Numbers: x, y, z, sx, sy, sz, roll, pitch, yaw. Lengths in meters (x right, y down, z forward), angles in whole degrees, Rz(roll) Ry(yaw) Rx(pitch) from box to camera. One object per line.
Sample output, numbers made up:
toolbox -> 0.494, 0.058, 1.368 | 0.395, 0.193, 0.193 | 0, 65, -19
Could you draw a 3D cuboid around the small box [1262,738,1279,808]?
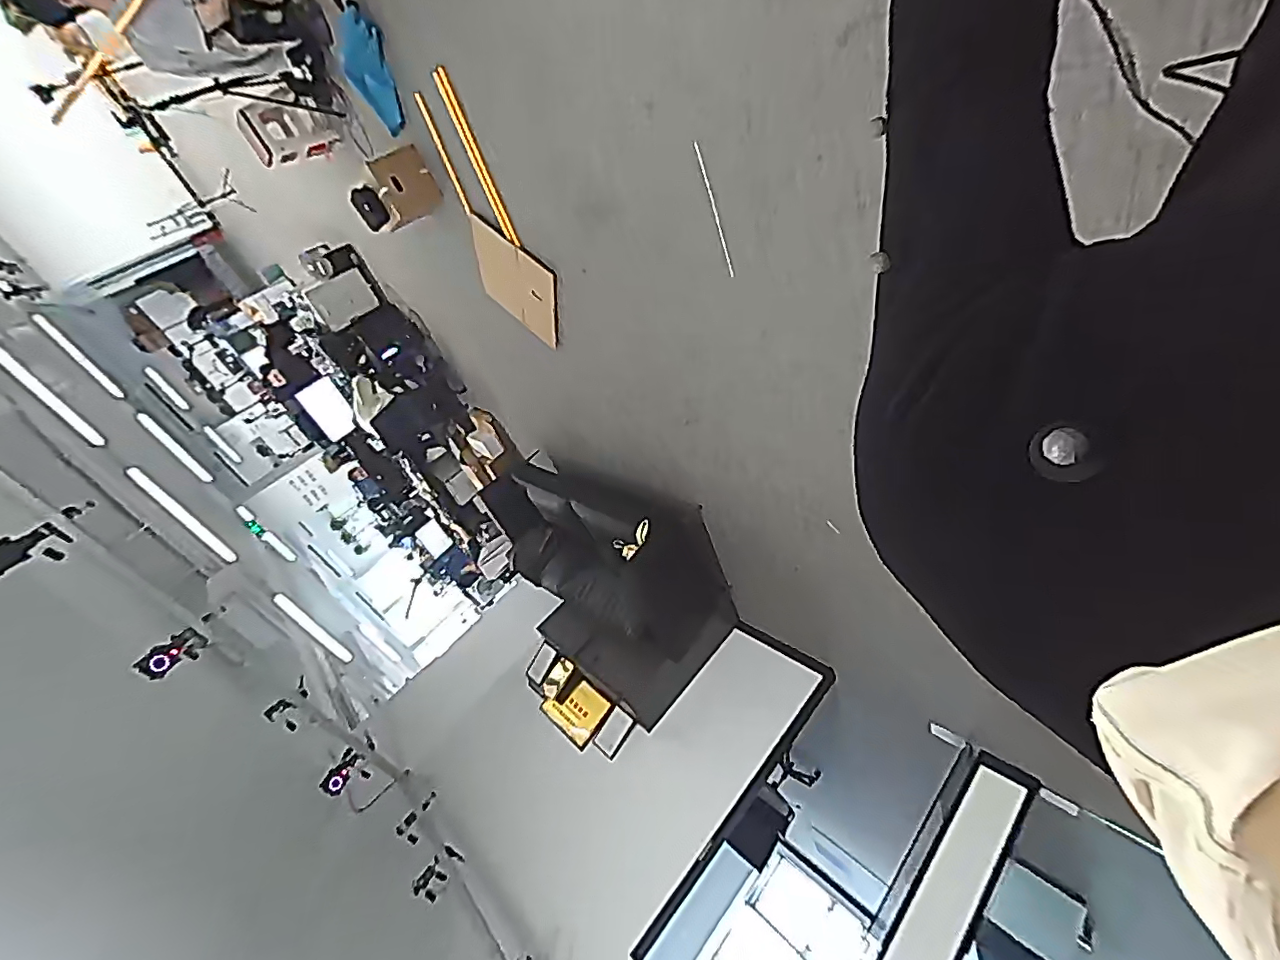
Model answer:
small box -> 1.631, 0.709, 1.260 | 0.179, 0.176, 0.168 | 27, 149, 38
